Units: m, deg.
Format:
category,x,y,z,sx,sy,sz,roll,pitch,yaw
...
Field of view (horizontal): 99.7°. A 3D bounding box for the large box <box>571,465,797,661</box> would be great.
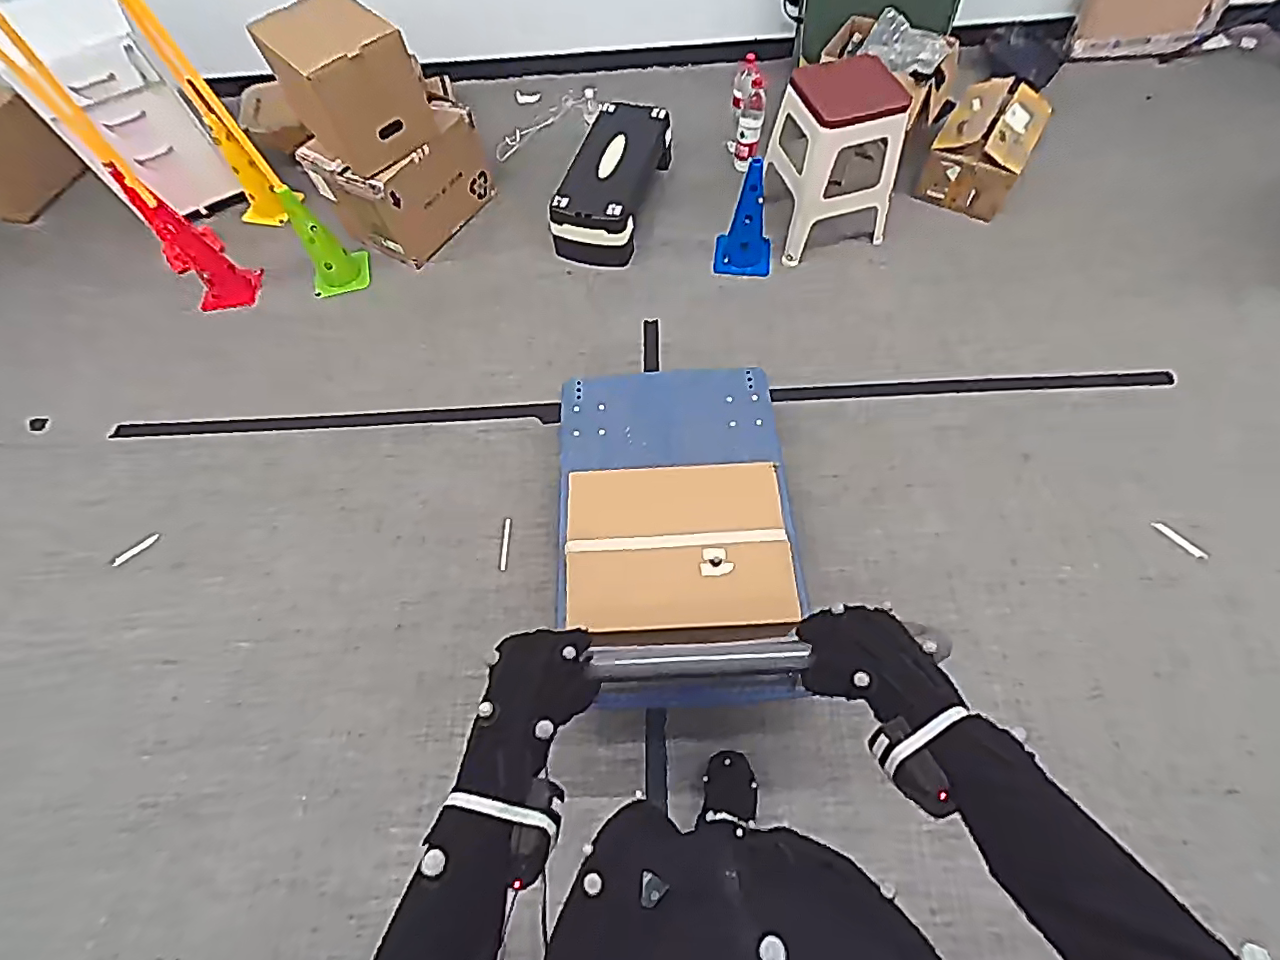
category,x,y,z,sx,sy,sz,roll,pitch,yaw
large box,0.071,0.187,1.142,0.408,0.320,0.320,-3,63,0
